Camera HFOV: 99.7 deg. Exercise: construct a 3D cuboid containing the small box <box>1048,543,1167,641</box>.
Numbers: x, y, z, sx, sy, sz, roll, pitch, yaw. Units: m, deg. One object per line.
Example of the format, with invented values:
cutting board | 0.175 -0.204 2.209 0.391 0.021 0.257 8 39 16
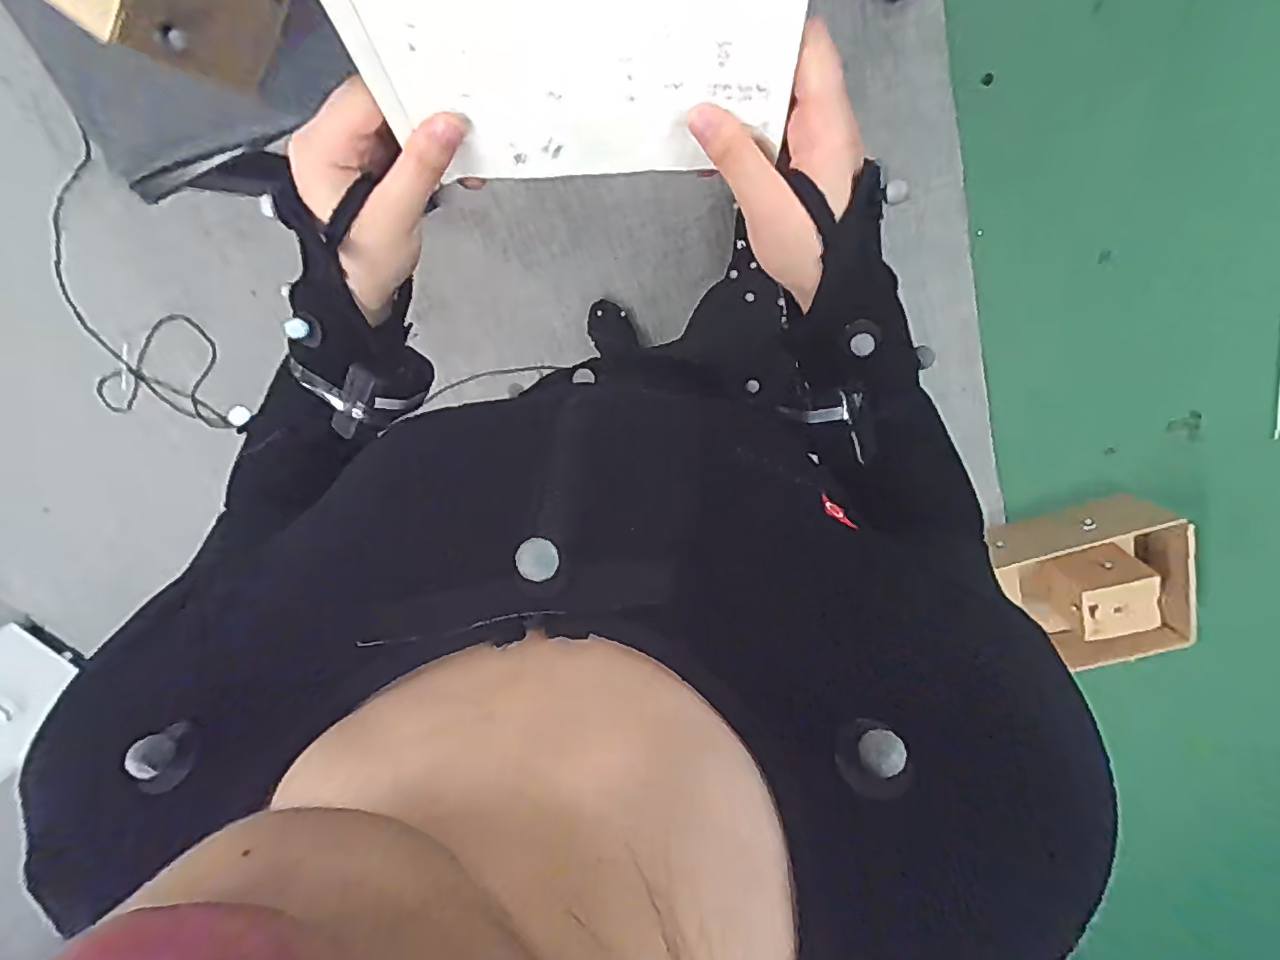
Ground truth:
small box | 1.220 0.288 1.418 0.179 0.176 0.168 -18 111 12
